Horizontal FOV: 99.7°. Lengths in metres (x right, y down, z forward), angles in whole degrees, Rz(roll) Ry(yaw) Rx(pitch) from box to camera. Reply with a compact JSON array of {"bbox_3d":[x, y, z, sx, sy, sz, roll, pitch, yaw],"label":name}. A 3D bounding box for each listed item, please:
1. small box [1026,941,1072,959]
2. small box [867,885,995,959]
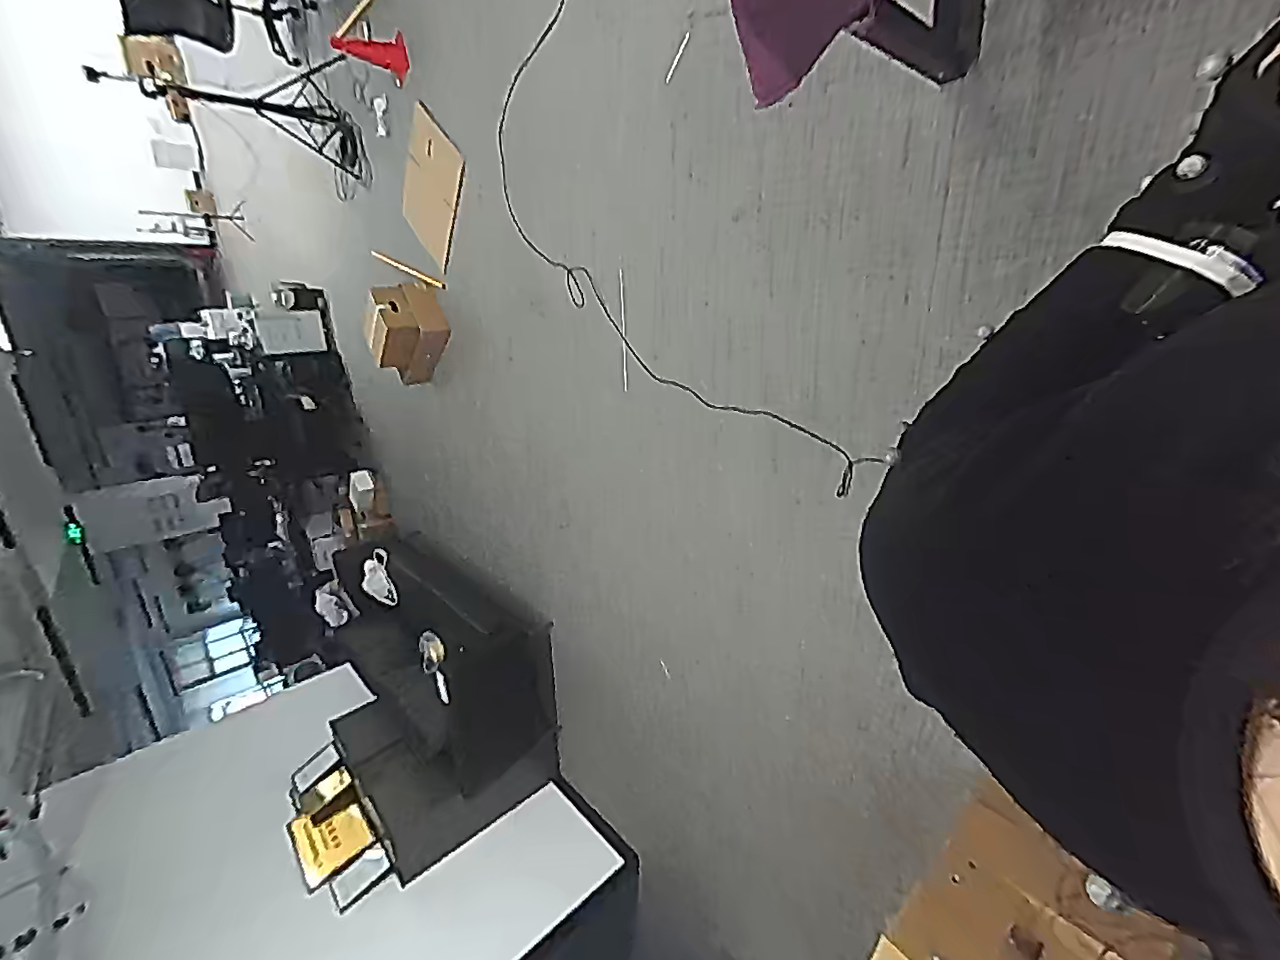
[{"bbox_3d":[0.908,1.165,1.161,0.168,0.176,0.179,25,125,40],"label":"small box"},{"bbox_3d":[0.628,1.034,1.175,0.179,0.176,0.168,28,125,41],"label":"small box"}]
